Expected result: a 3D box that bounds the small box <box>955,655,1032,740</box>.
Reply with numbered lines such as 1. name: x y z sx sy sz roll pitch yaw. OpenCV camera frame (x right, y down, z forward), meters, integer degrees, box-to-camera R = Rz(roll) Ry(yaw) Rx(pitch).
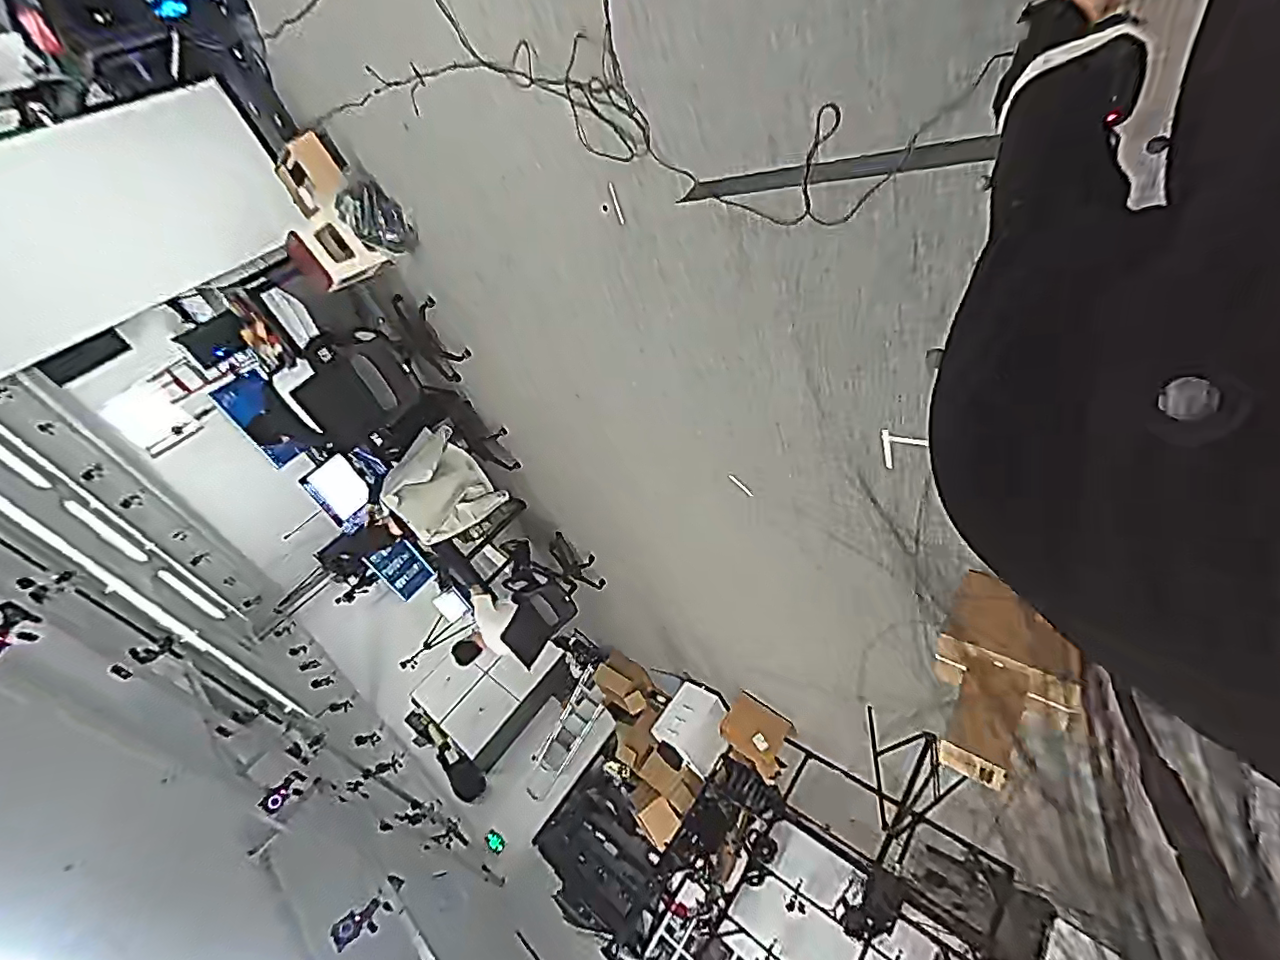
1. small box: 1.172 0.713 1.791 0.179 0.176 0.168 17 141 42
